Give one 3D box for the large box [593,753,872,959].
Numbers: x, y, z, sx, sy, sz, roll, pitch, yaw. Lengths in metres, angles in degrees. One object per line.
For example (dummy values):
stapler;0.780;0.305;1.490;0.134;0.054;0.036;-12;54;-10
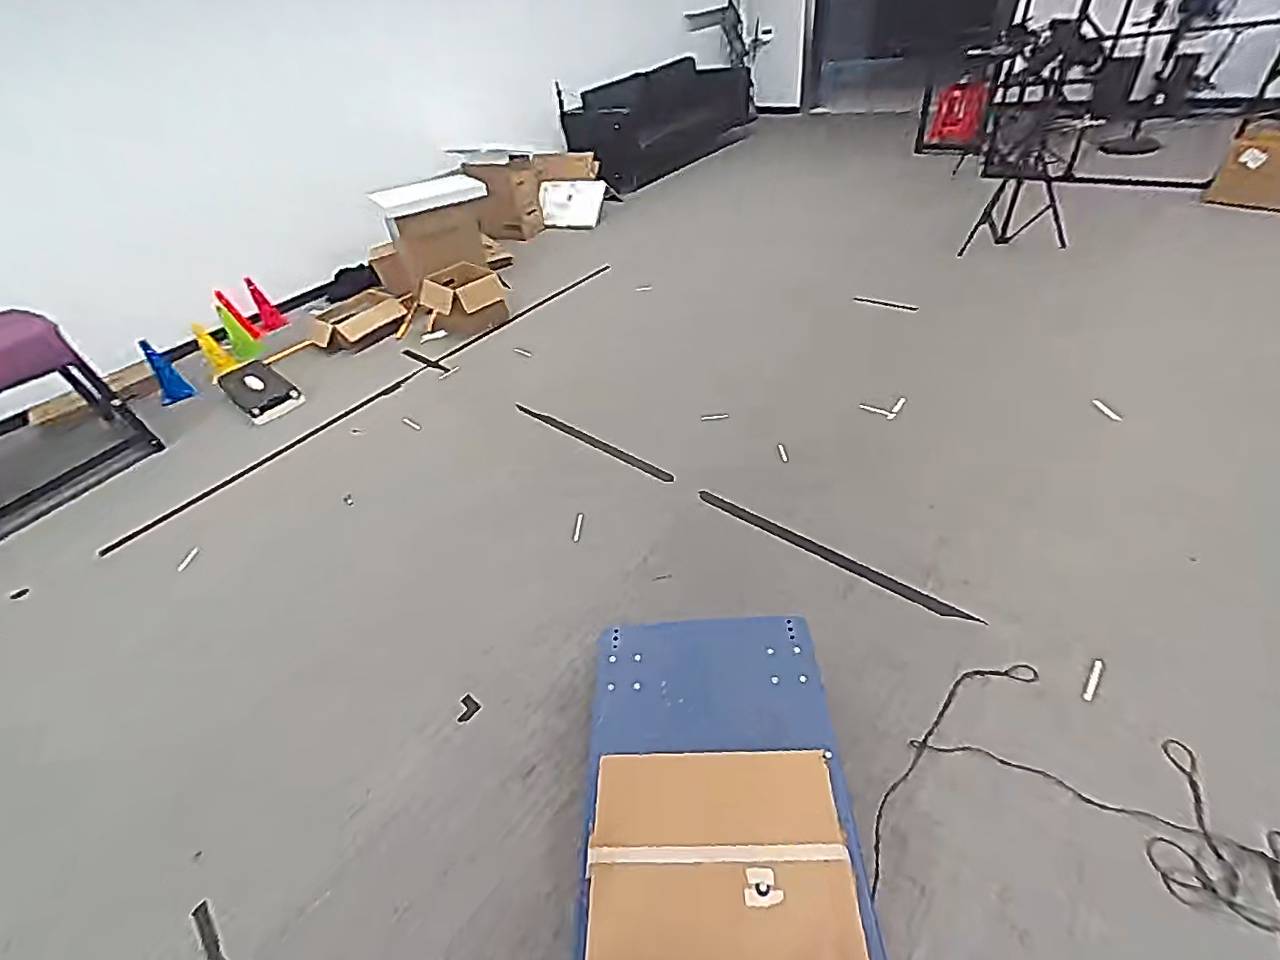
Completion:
large box;0.143;0.715;0.964;0.408;0.320;0.320;-4;43;5
